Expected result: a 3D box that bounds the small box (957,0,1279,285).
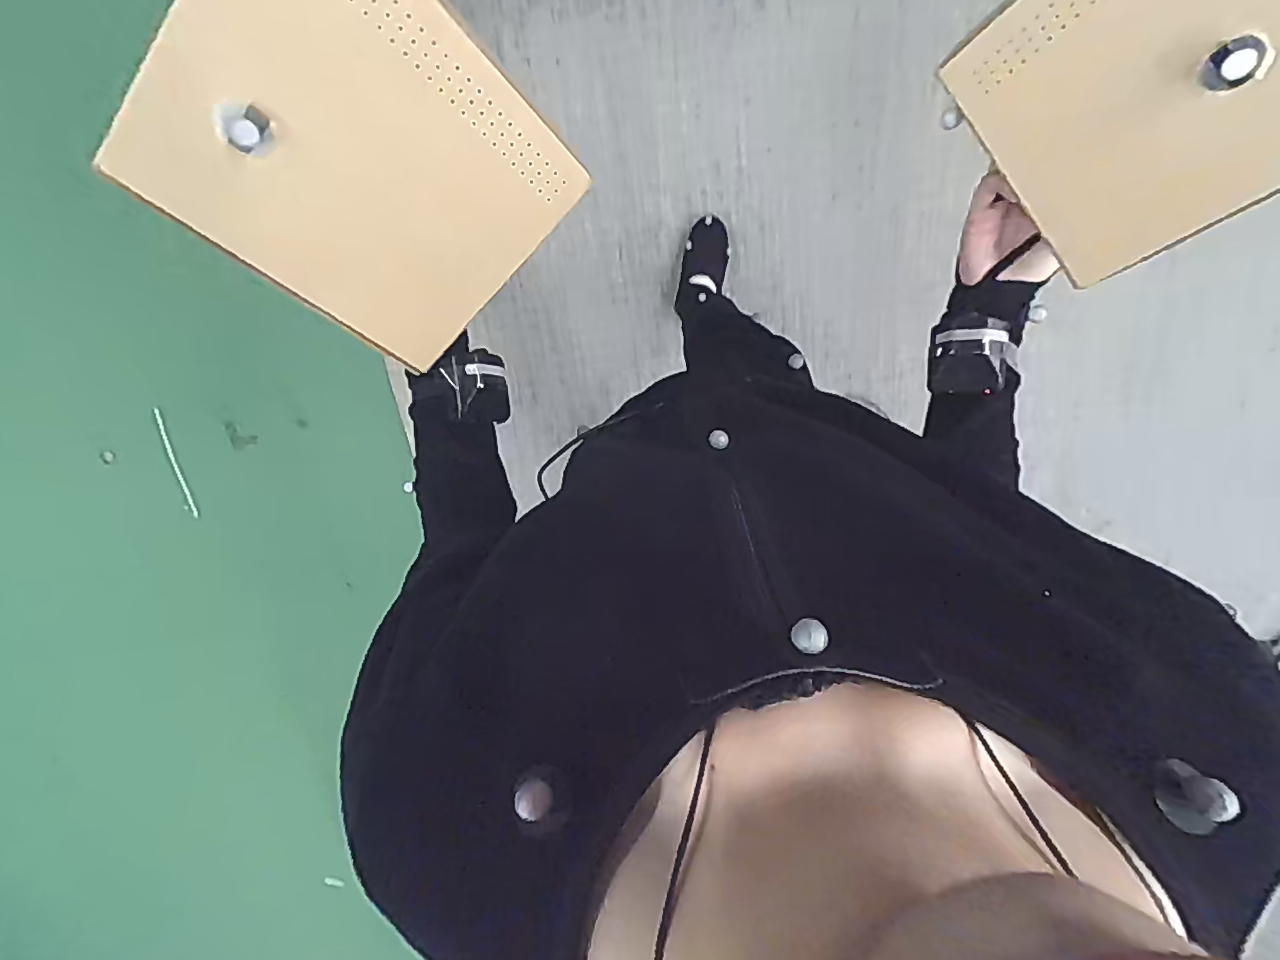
[{"bbox_3d":[0.311,-0.257,0.313,0.176,0.168,0.179,46,140,-11],"label":"small box"}]
